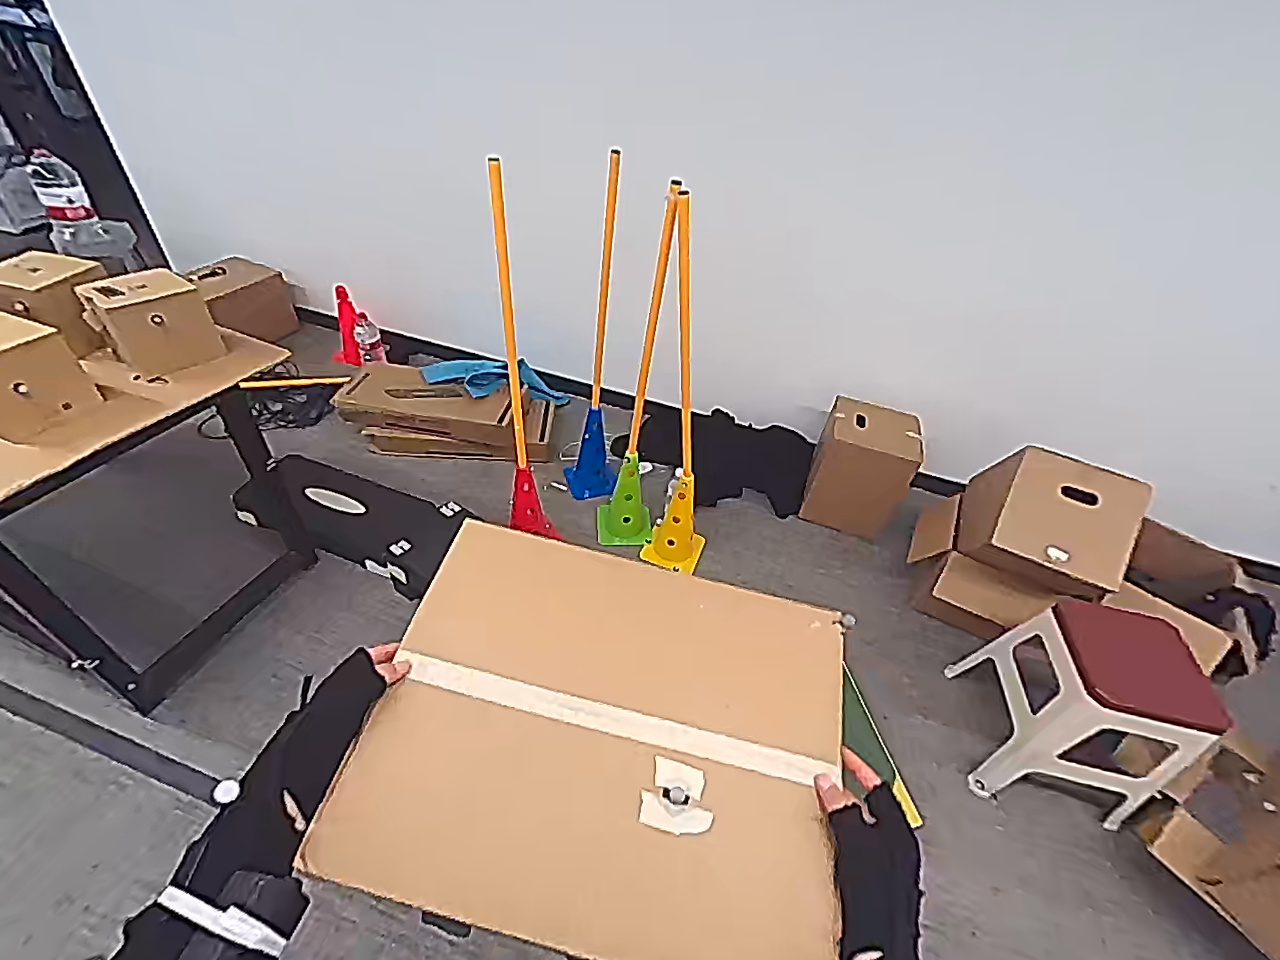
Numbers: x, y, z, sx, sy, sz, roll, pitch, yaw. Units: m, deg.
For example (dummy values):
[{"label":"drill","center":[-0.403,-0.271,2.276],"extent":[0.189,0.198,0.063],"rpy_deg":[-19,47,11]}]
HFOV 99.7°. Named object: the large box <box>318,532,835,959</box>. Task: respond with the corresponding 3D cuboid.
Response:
[{"label":"large box","center":[-0.039,0.304,0.604],"extent":[0.408,0.320,0.320],"rpy_deg":[14,54,2]}]
